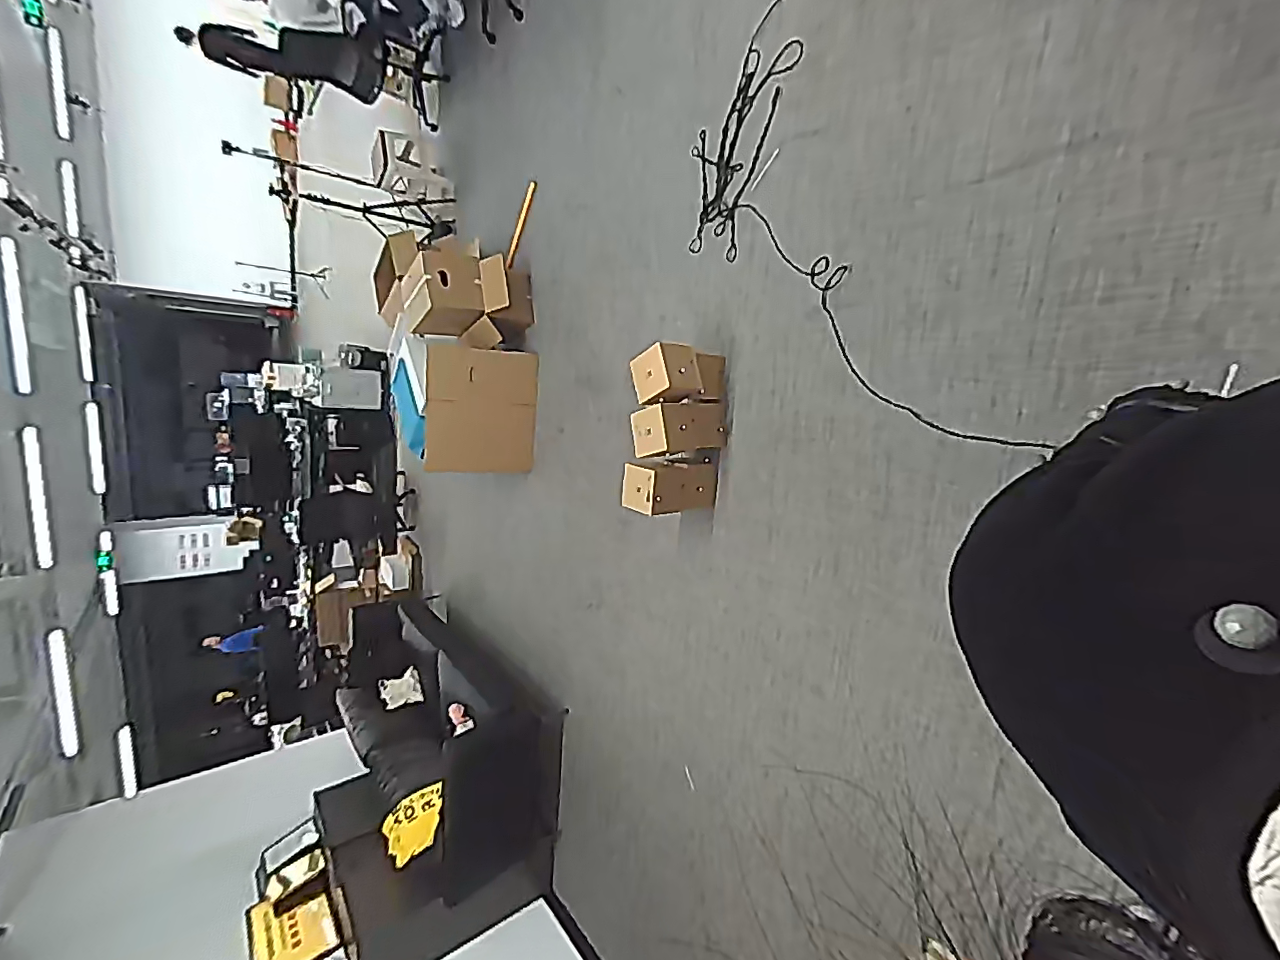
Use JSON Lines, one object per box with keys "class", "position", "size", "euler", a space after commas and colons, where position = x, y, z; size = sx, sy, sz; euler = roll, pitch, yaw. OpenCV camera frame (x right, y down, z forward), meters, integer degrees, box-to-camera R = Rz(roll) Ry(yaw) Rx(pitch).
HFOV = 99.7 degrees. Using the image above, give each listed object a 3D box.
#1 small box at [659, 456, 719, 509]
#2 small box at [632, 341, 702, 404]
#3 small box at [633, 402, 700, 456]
{"class": "small box", "position": [0.194, 0.004, 2.113], "size": [0.168, 0.176, 0.179], "euler": [16, 106, 50]}
{"class": "small box", "position": [0.103, -0.379, 1.923], "size": [0.179, 0.176, 0.168], "euler": [-24, 75, 51]}
{"class": "small box", "position": [0.101, -0.183, 1.949], "size": [0.179, 0.176, 0.168], "euler": [-12, 84, 52]}
